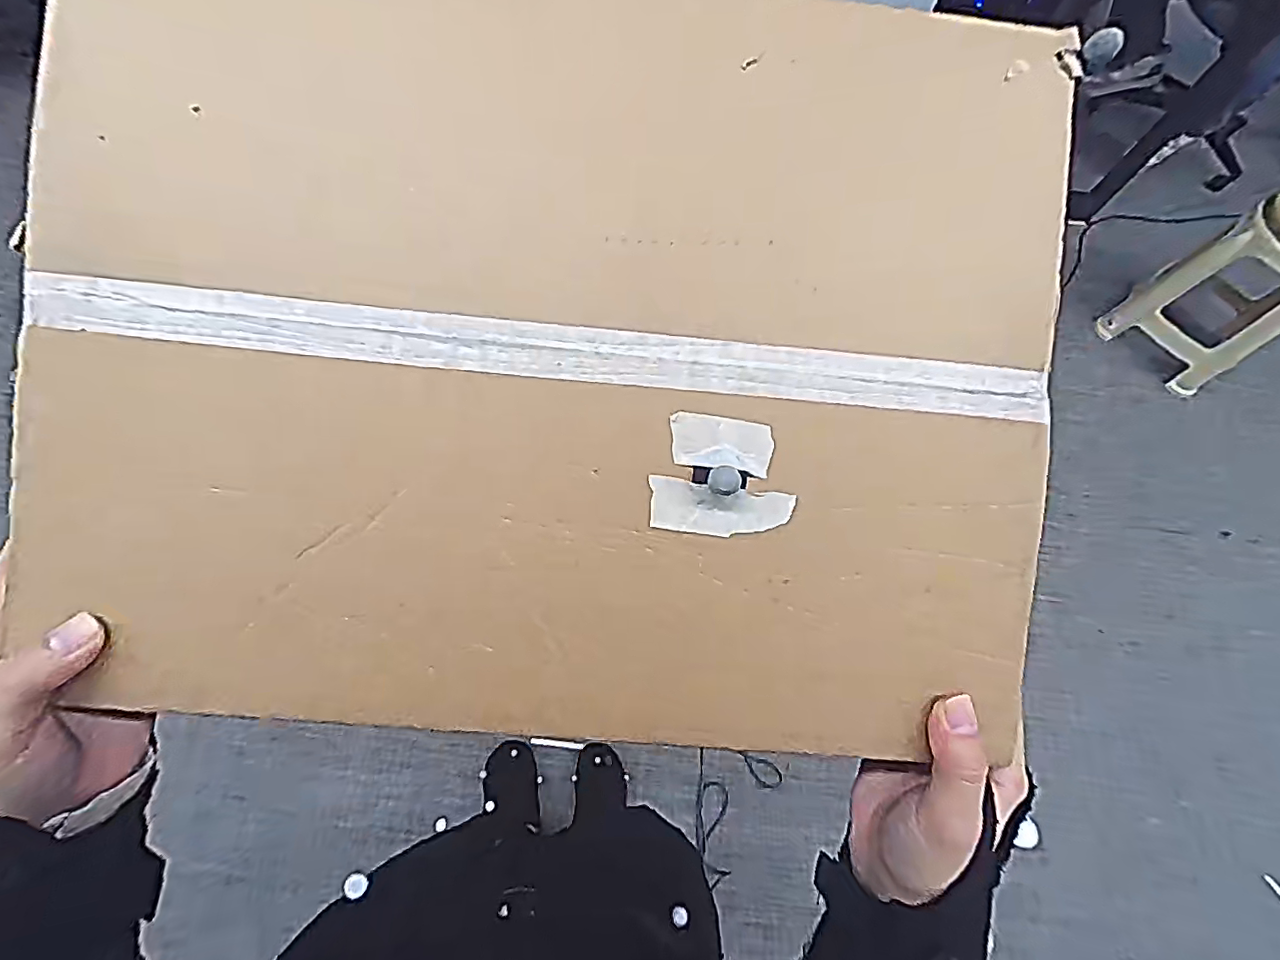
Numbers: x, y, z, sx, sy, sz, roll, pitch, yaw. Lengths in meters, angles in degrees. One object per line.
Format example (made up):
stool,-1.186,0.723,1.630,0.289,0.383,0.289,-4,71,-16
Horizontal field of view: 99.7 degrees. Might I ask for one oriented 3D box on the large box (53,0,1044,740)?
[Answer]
large box,-0.037,-0.049,0.378,0.408,0.320,0.320,5,91,-4
